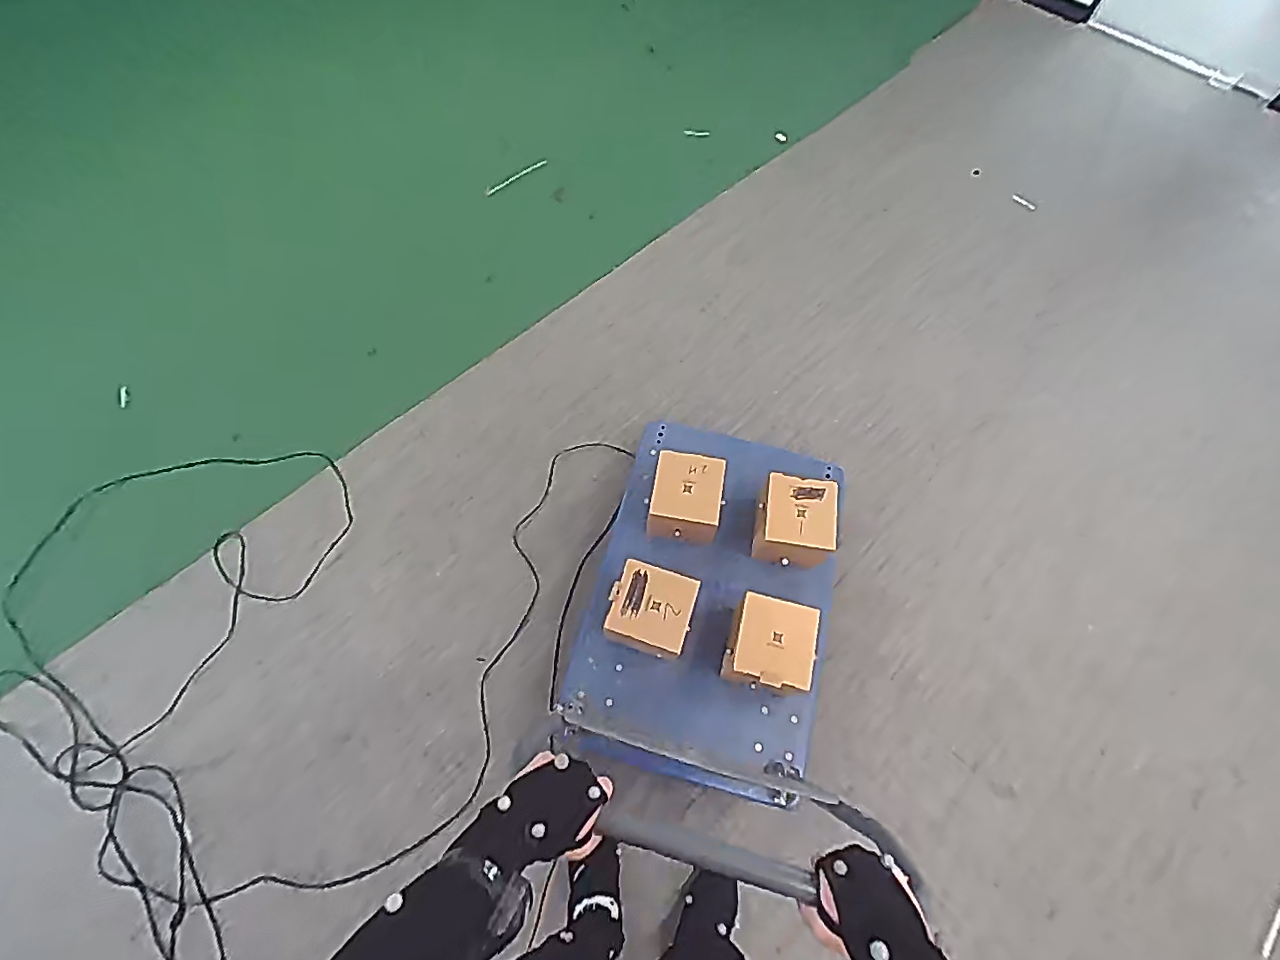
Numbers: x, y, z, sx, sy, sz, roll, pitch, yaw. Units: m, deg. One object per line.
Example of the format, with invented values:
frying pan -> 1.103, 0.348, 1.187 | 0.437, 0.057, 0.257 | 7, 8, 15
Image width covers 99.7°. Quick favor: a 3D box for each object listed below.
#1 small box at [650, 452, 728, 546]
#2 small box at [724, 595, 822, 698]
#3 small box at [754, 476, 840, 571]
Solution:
small box -> 0.119, 0.055, 1.366 | 0.168, 0.176, 0.179 | 11, 66, 3
small box -> 0.296, 0.381, 1.225 | 0.168, 0.176, 0.179 | 14, 67, 5
small box -> 0.386, 0.112, 1.345 | 0.168, 0.176, 0.179 | 9, 67, 4
